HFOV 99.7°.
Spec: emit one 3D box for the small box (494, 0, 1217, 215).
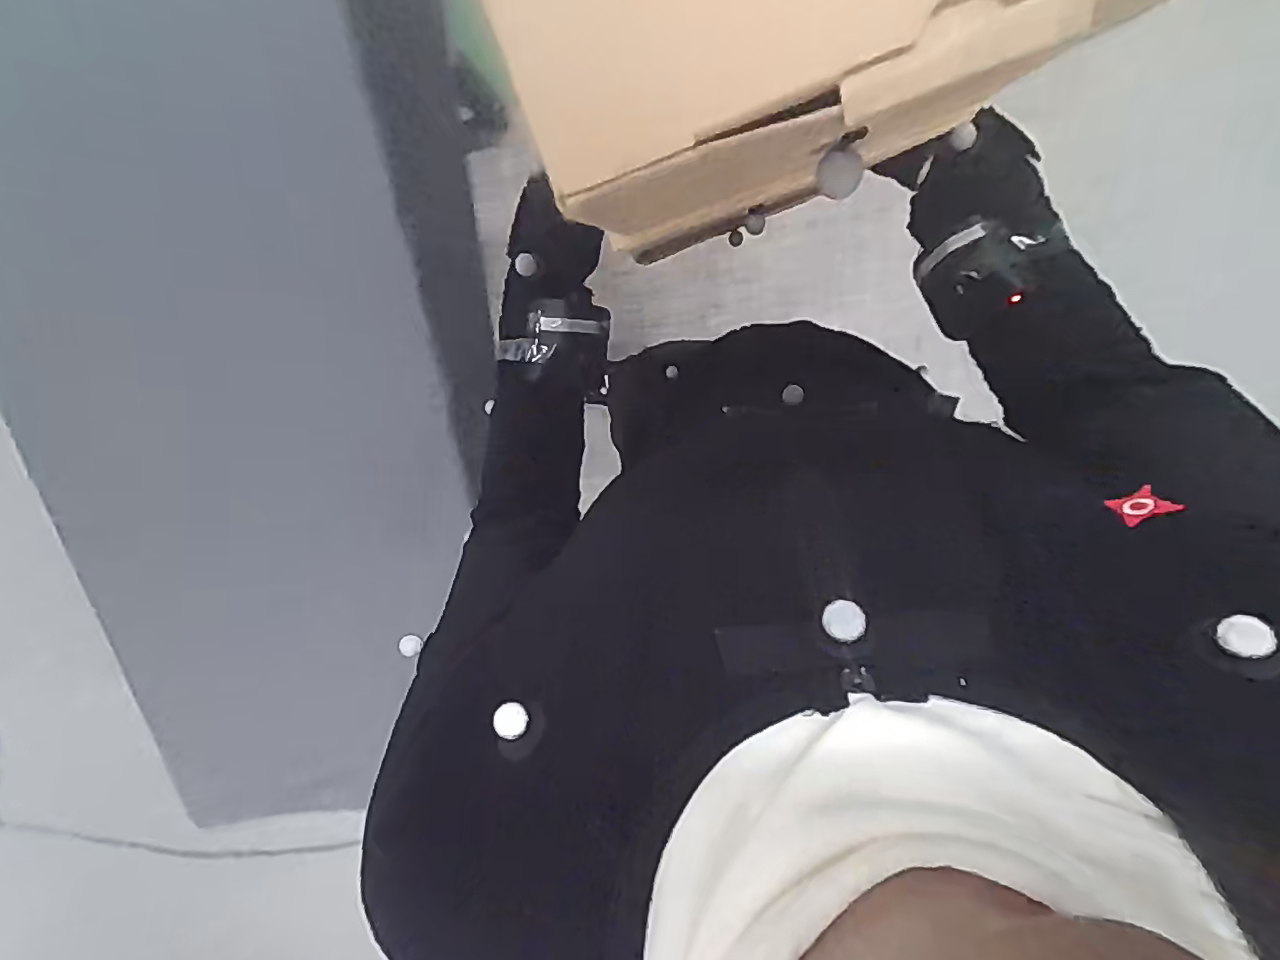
[{"bbox_3d":[0.042,-0.187,0.147,0.168,0.176,0.179,-15,111,10],"label":"small box"}]
